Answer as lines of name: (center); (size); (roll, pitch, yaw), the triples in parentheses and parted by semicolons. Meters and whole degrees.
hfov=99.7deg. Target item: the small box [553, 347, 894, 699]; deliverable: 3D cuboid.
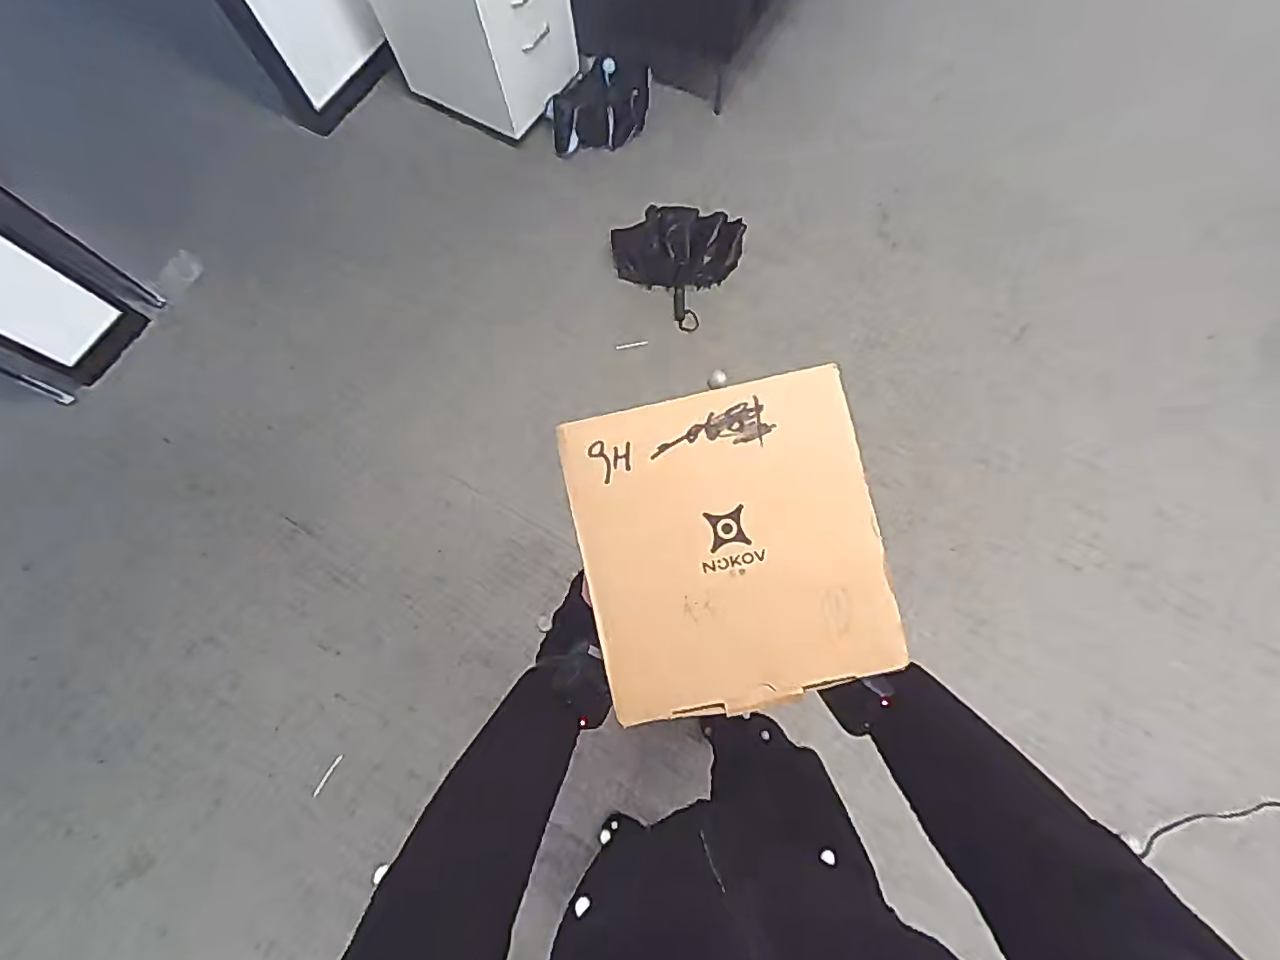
small box: (0.050, 0.026, 0.385); (0.168, 0.176, 0.179); (-12, 88, 2)
